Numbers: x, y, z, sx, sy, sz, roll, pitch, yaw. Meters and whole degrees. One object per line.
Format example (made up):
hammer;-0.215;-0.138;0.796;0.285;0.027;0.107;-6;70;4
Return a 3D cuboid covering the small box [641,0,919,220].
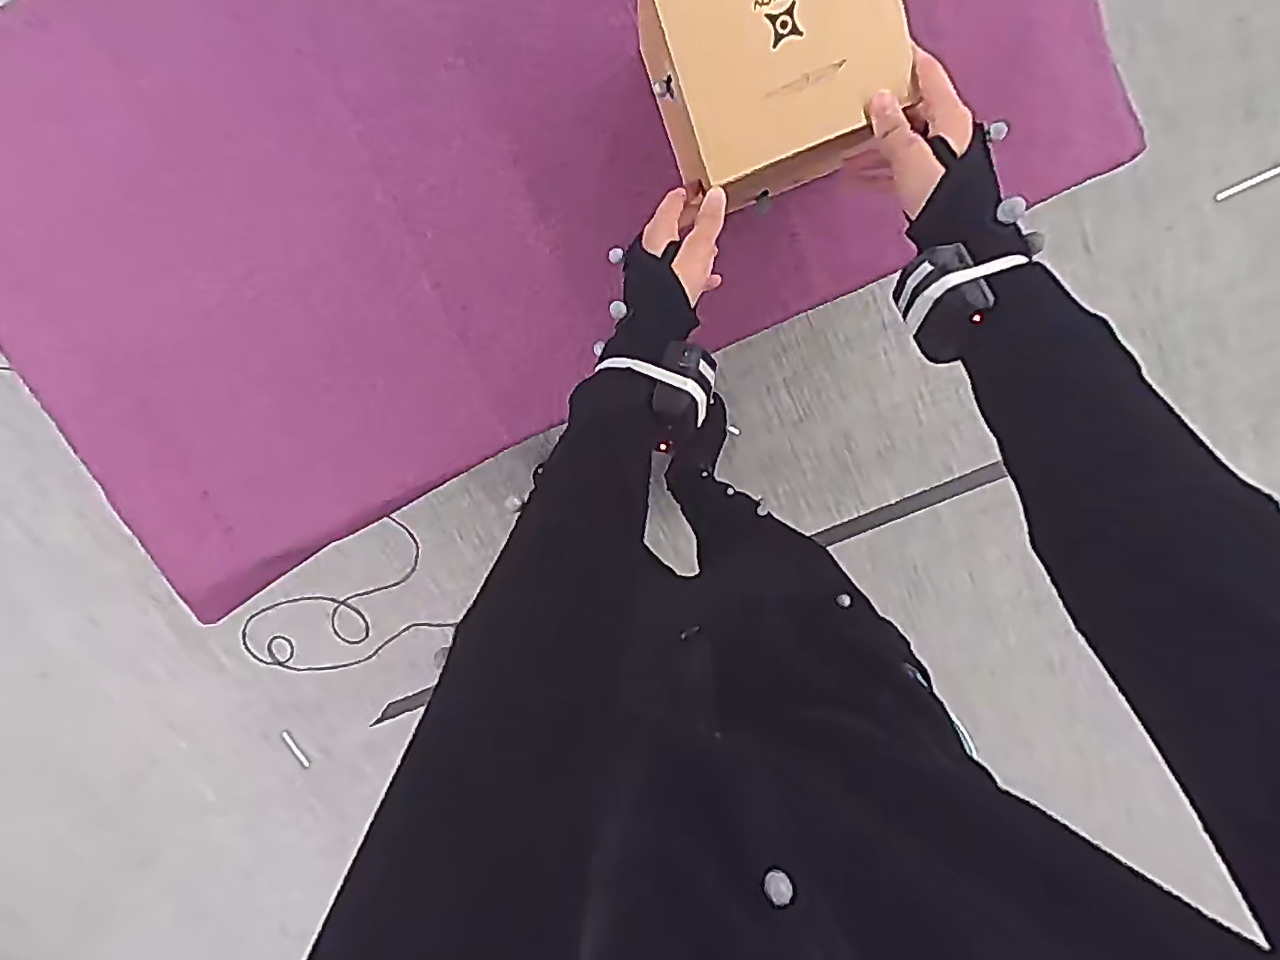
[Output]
small box;0.101;-0.350;0.458;0.168;0.176;0.179;-19;104;7
